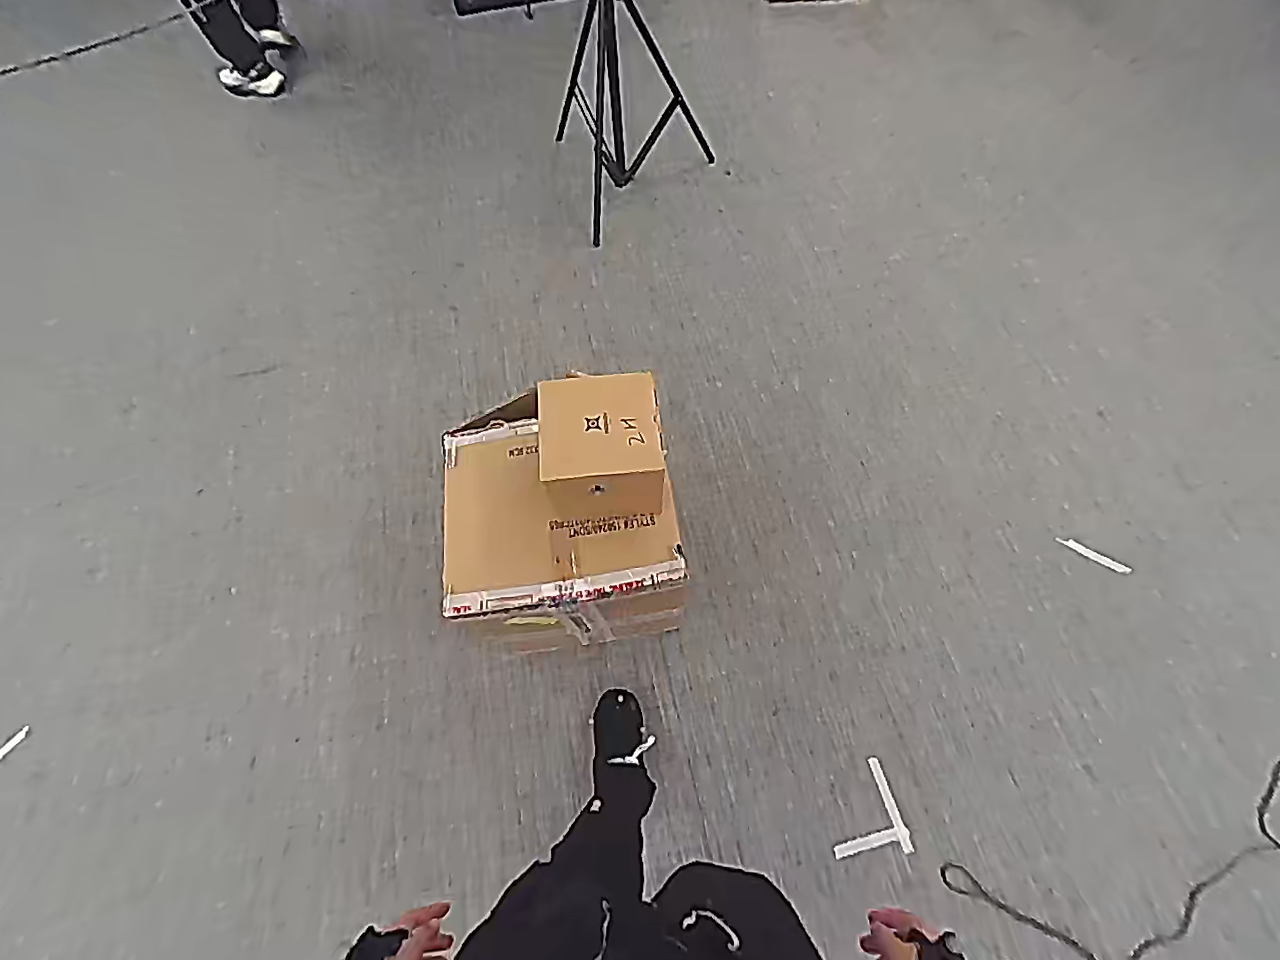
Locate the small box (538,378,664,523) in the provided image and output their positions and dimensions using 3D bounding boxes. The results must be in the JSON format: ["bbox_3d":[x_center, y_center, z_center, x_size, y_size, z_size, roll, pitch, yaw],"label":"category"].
[{"bbox_3d":[-0.056,-0.039,0.847,0.179,0.176,0.168,-6,67,-2],"label":"small box"}]
